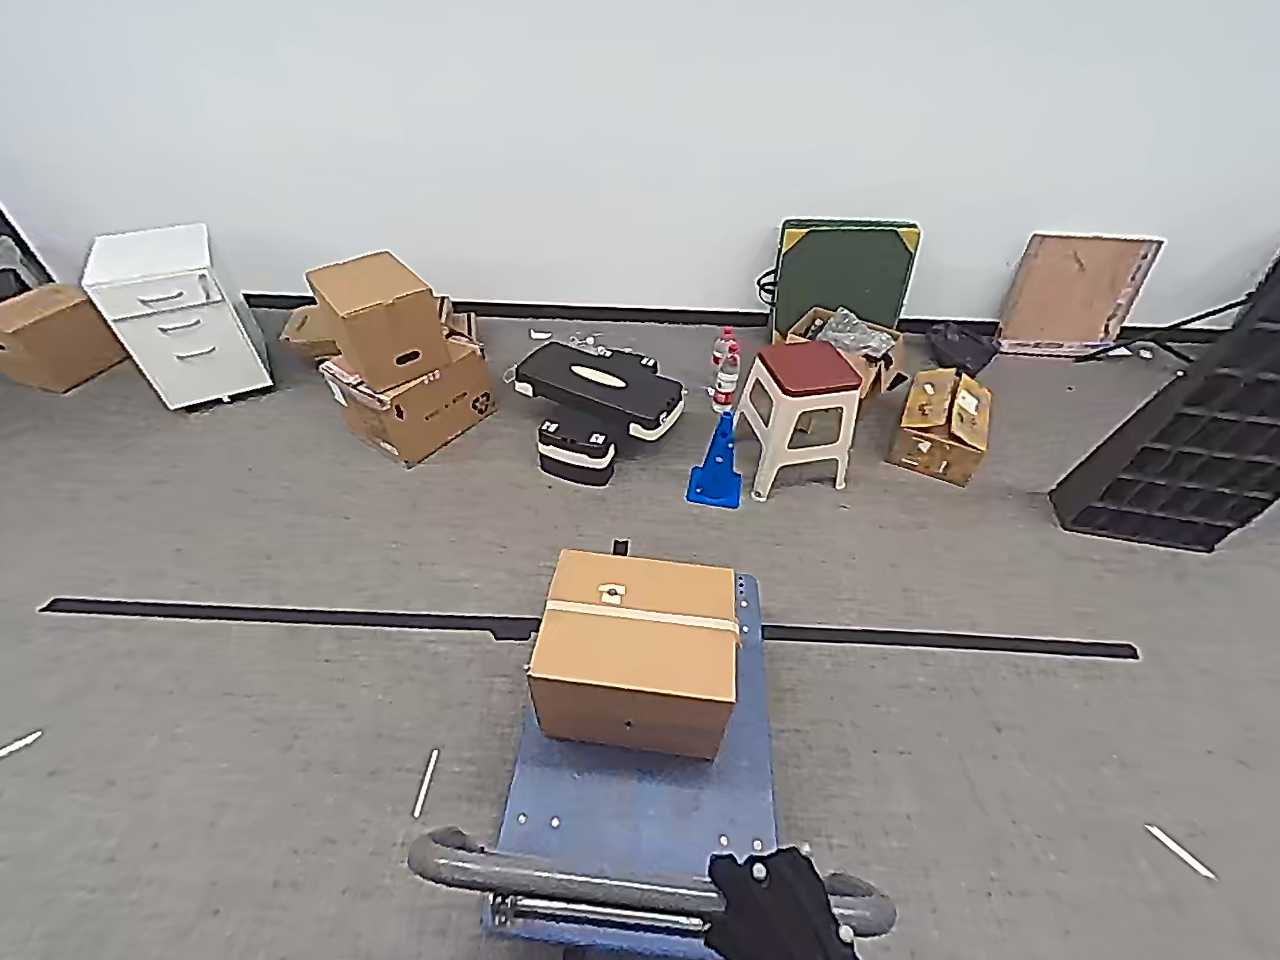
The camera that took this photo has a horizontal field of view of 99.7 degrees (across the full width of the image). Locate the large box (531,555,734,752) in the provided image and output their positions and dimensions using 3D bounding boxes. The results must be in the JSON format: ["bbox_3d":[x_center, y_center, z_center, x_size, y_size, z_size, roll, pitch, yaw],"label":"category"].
[{"bbox_3d":[-0.002,0.402,1.251,0.408,0.320,0.320,5,44,4],"label":"large box"}]
